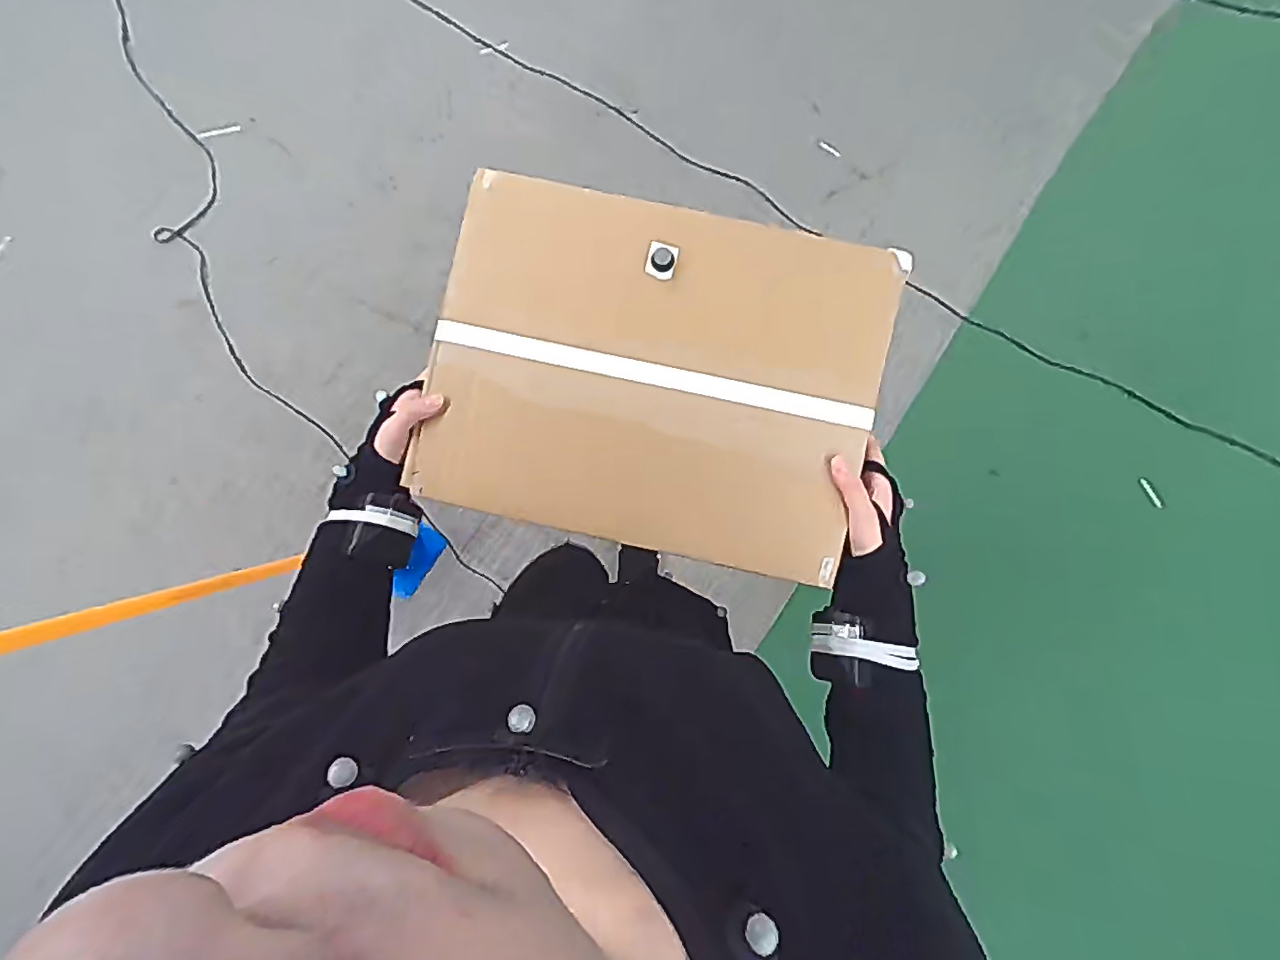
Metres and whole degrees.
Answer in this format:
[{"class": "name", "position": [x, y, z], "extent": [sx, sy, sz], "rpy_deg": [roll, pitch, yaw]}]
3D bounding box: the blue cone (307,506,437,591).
[{"class": "blue cone", "position": [-0.673, 0.175, 1.322], "extent": [0.192, 0.380, 0.193], "rpy_deg": [31, 86, 4]}]
